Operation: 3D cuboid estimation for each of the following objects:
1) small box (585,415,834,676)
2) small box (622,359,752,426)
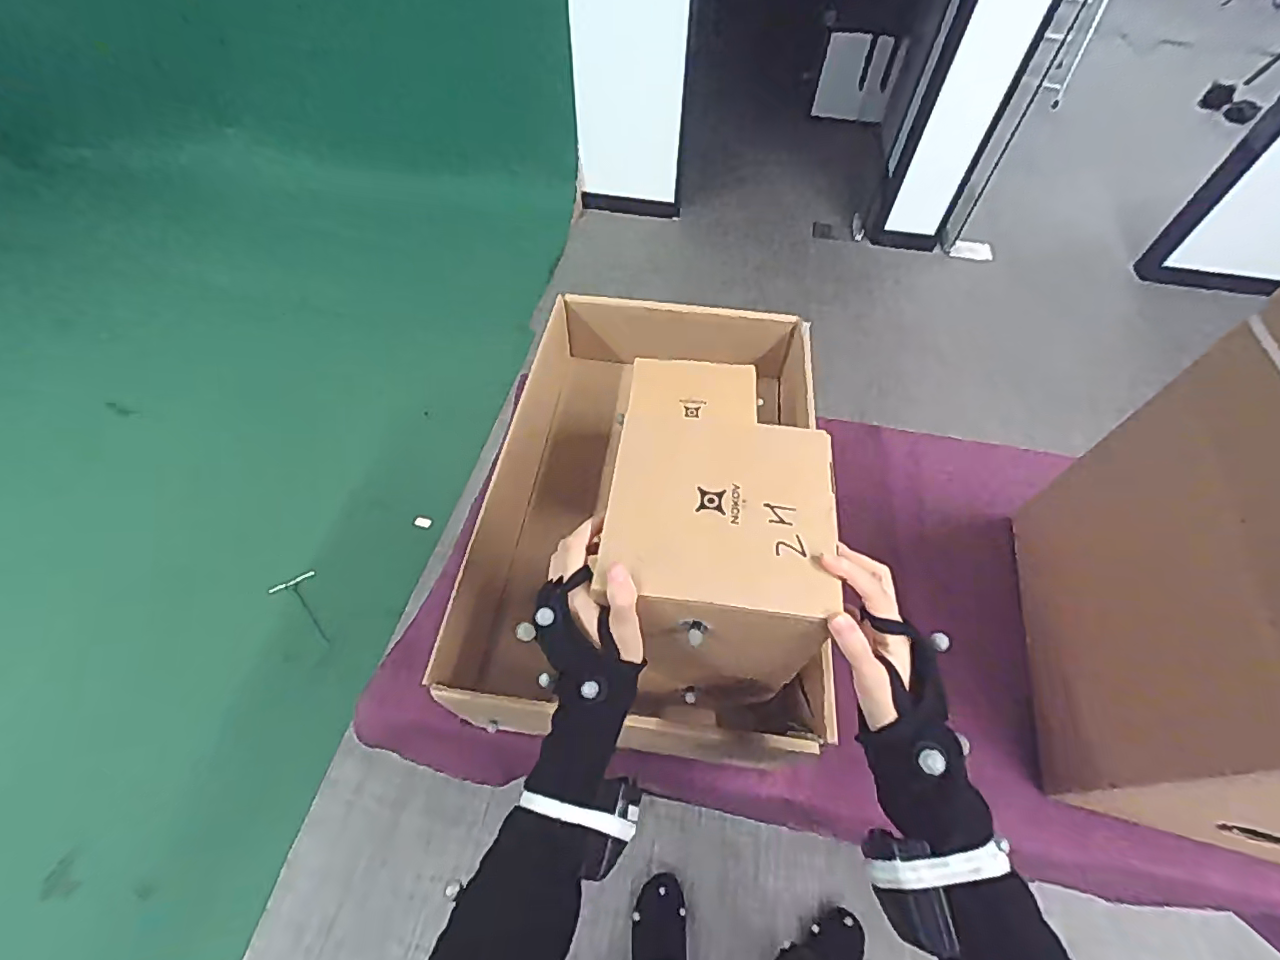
[{"bbox_3d":[0.058,0.065,0.481,0.179,0.176,0.168,7,58,4],"label":"small box"},{"bbox_3d":[0.062,-0.045,0.754,0.168,0.176,0.179,4,56,3],"label":"small box"}]
